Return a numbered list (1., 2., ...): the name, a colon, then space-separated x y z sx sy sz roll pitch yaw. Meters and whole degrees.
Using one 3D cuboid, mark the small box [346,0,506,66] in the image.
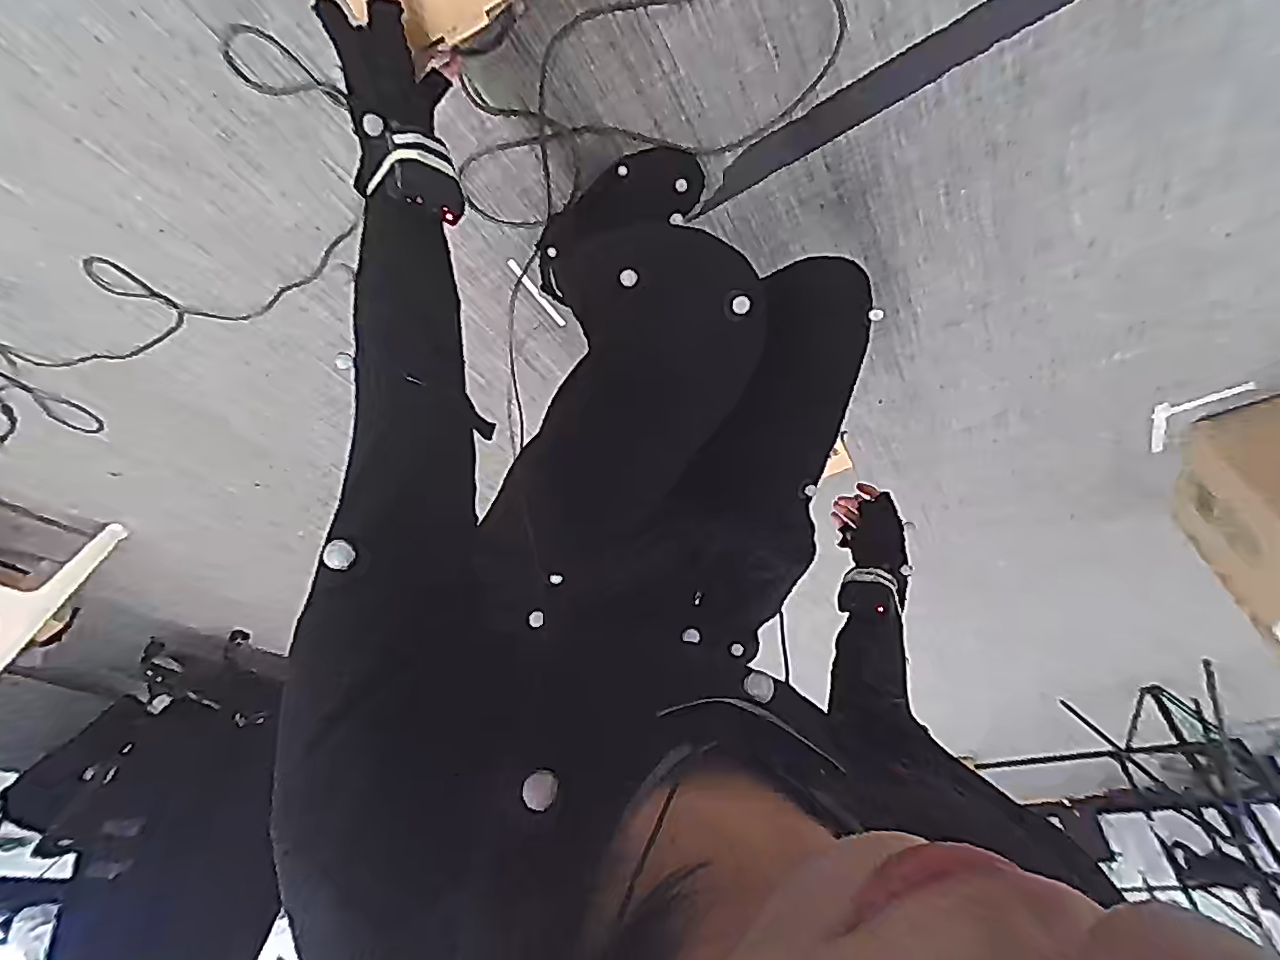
1. small box: -0.189 -0.513 0.467 0.168 0.176 0.179 -16 136 17
